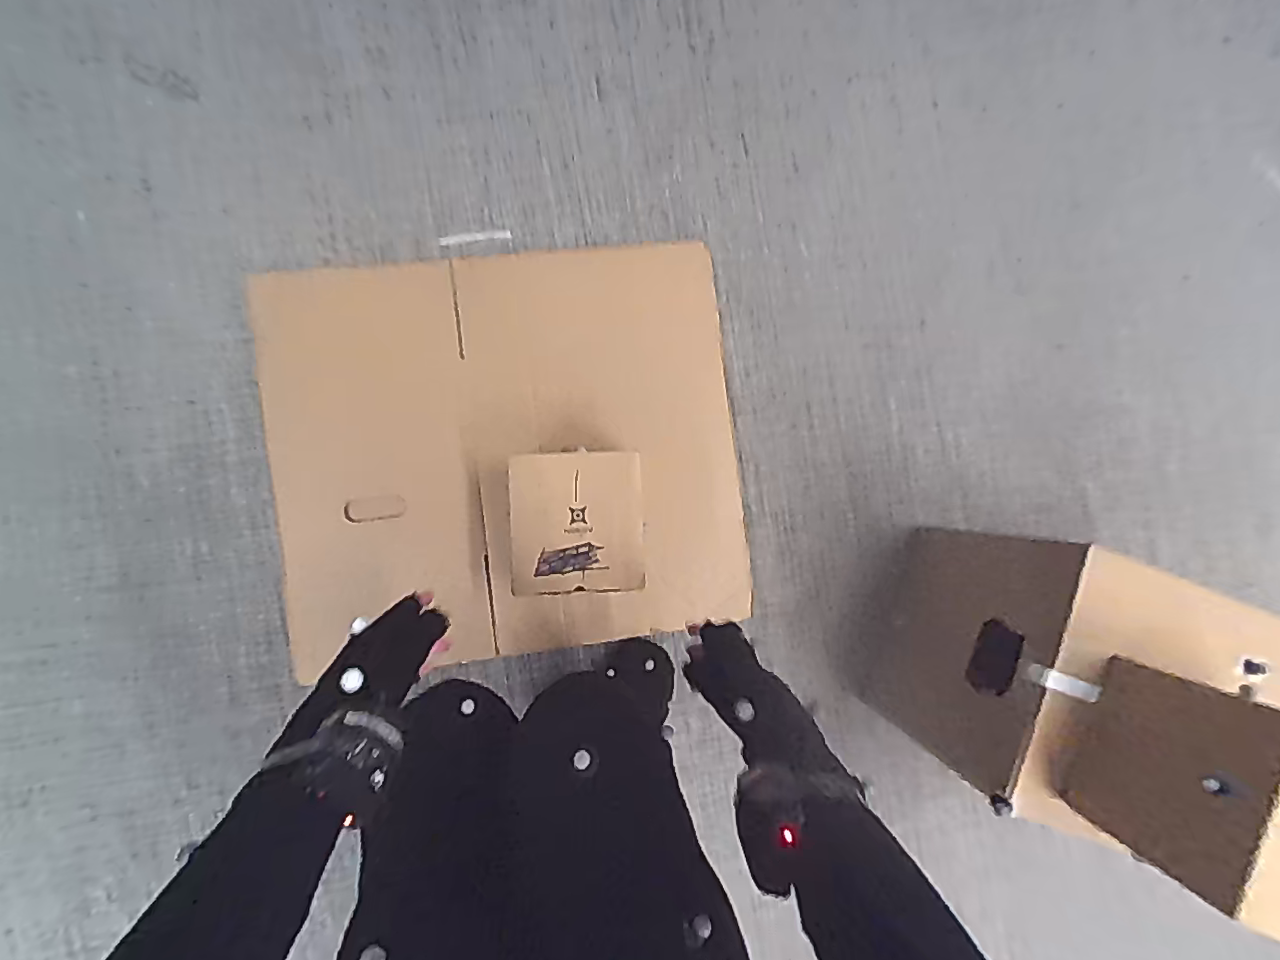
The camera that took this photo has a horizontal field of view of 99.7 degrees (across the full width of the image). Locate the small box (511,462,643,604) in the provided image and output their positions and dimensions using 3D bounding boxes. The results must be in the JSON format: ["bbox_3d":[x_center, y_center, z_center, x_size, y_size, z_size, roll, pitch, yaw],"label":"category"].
[{"bbox_3d":[-0.084,0.069,0.756,0.168,0.176,0.179,-2,86,-5],"label":"small box"}]

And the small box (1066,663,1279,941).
[{"bbox_3d":[0.565,0.302,0.517,0.168,0.176,0.179,22,88,-3],"label":"small box"}]
